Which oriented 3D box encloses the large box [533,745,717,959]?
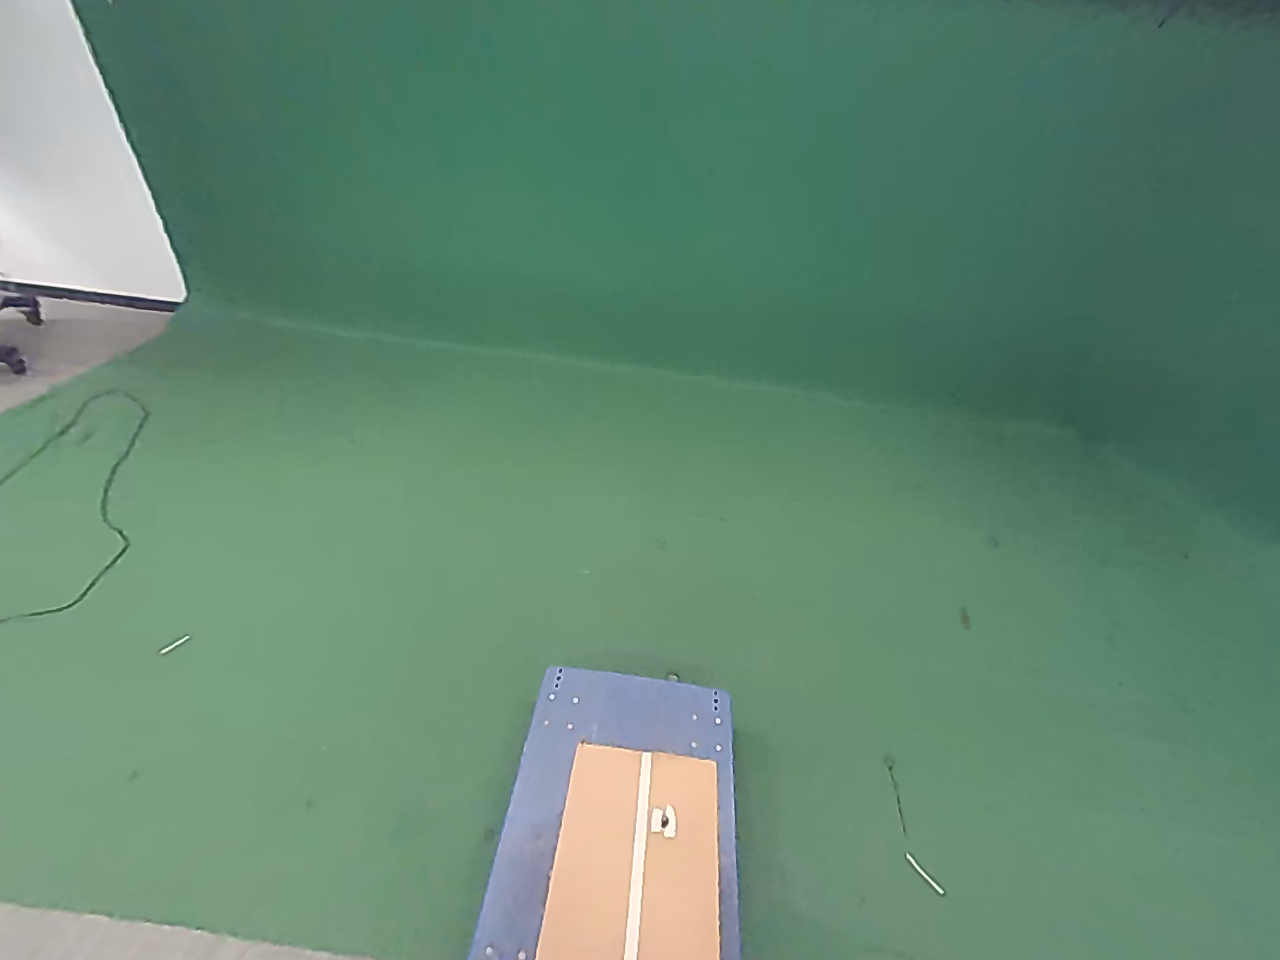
[{"bbox_3d":[-0.026,0.839,1.122,0.320,0.320,0.408,8,36,0],"label":"large box"}]
